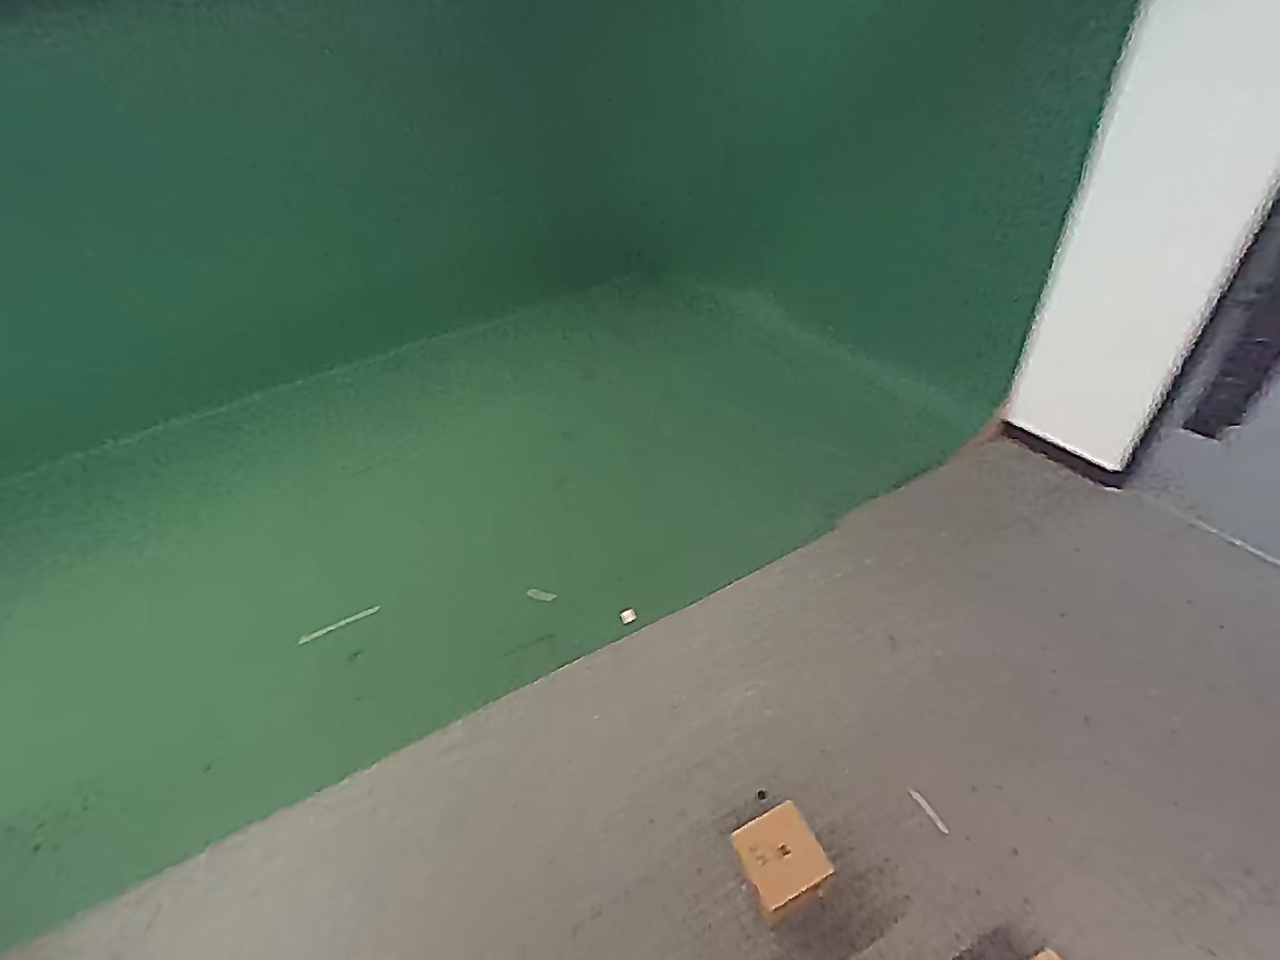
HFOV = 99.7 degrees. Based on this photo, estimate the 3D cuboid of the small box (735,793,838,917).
[{"bbox_3d":[0.339,0.887,1.279,0.179,0.176,0.168,-22,42,-12],"label":"small box"}]
